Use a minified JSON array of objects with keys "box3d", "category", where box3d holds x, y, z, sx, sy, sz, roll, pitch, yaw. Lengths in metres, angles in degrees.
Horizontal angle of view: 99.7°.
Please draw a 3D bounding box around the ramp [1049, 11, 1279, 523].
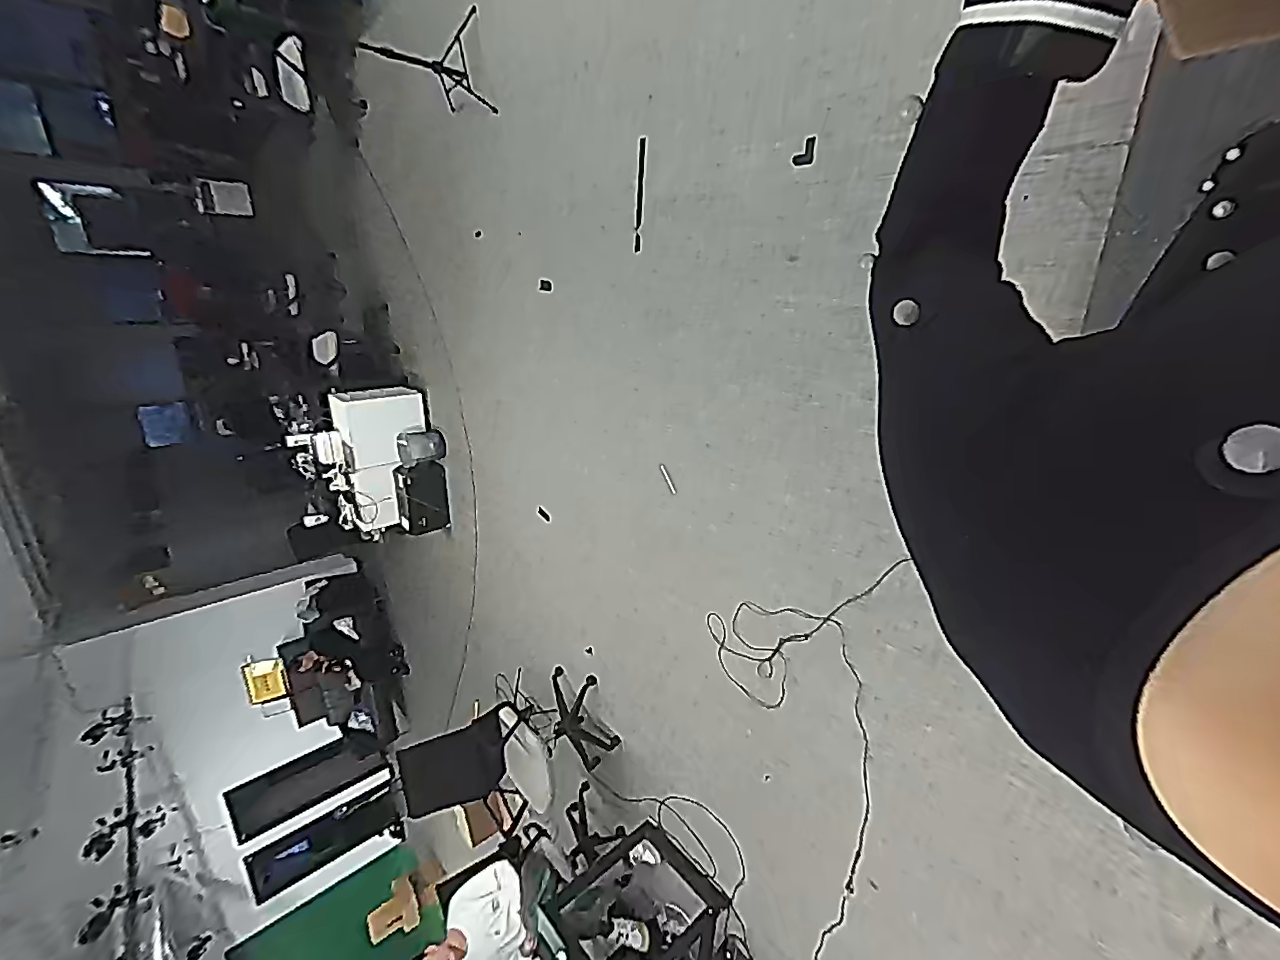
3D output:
[{"box3d":[1.107,-0.393,0.928,0.509,0.206,0.991,19,117,44],"category":"ramp"}]
